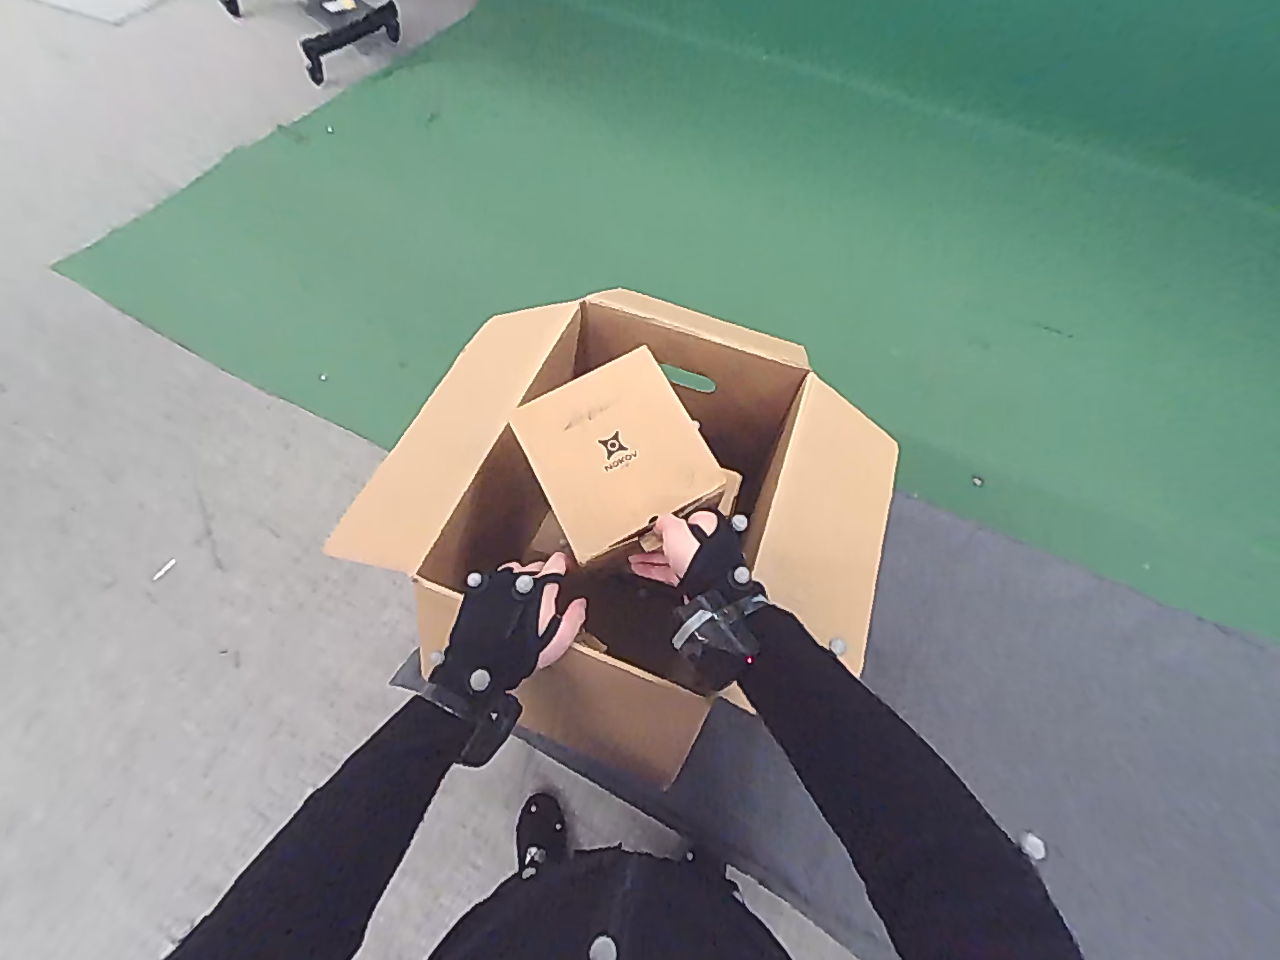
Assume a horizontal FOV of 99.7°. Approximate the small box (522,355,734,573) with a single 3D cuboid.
[{"bbox_3d":[-0.011,-0.005,0.624,0.168,0.176,0.179,-26,73,-6],"label":"small box"}]
